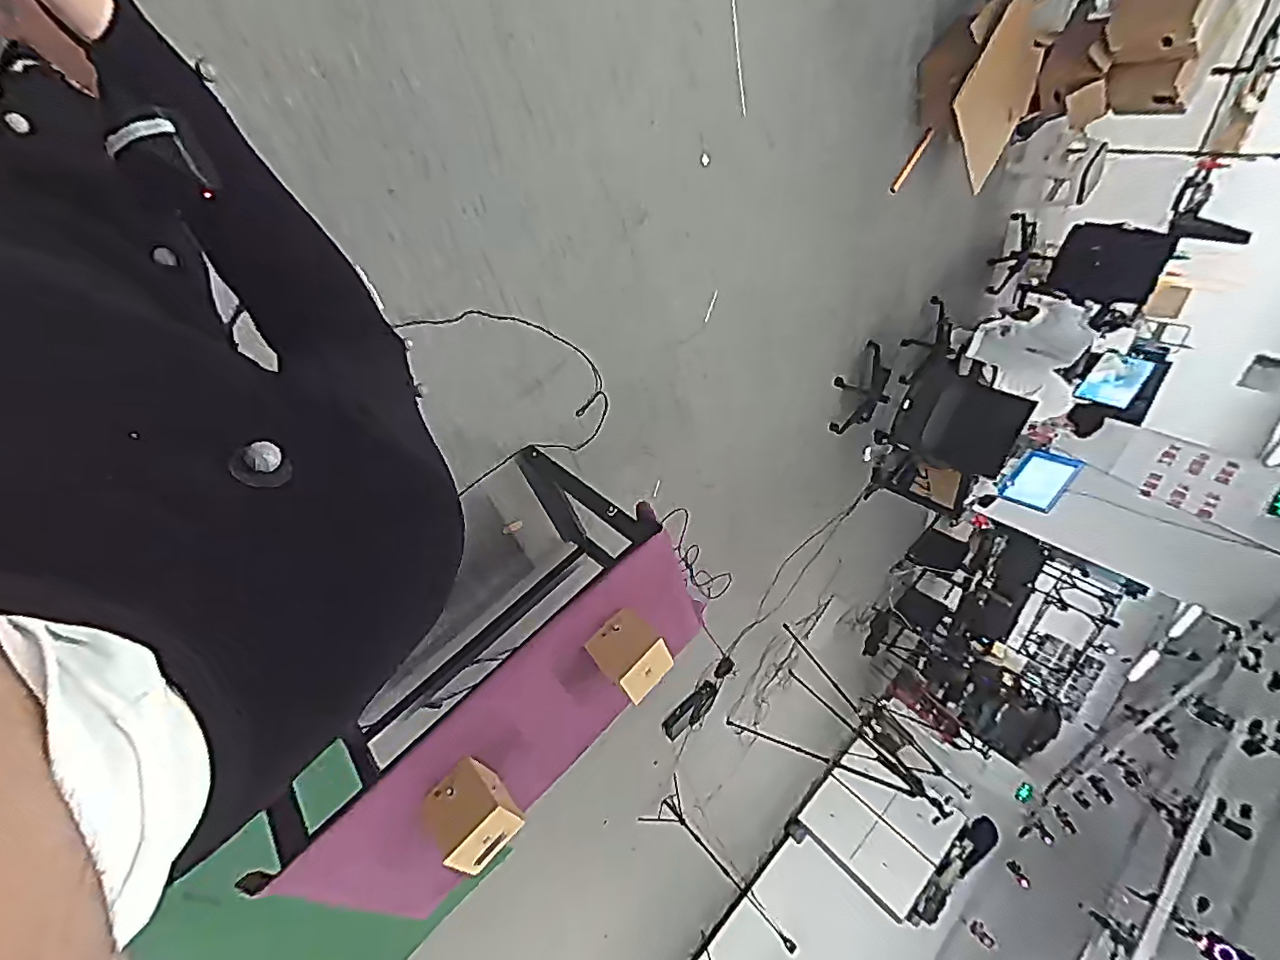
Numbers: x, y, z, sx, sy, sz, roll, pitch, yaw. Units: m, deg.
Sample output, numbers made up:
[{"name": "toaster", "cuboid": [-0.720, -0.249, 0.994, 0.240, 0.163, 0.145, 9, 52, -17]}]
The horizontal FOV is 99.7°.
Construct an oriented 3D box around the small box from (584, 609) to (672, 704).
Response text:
[{"name": "small box", "cuboid": [-0.035, 0.508, 1.572, 0.168, 0.176, 0.179, -41, 139, -20]}]
